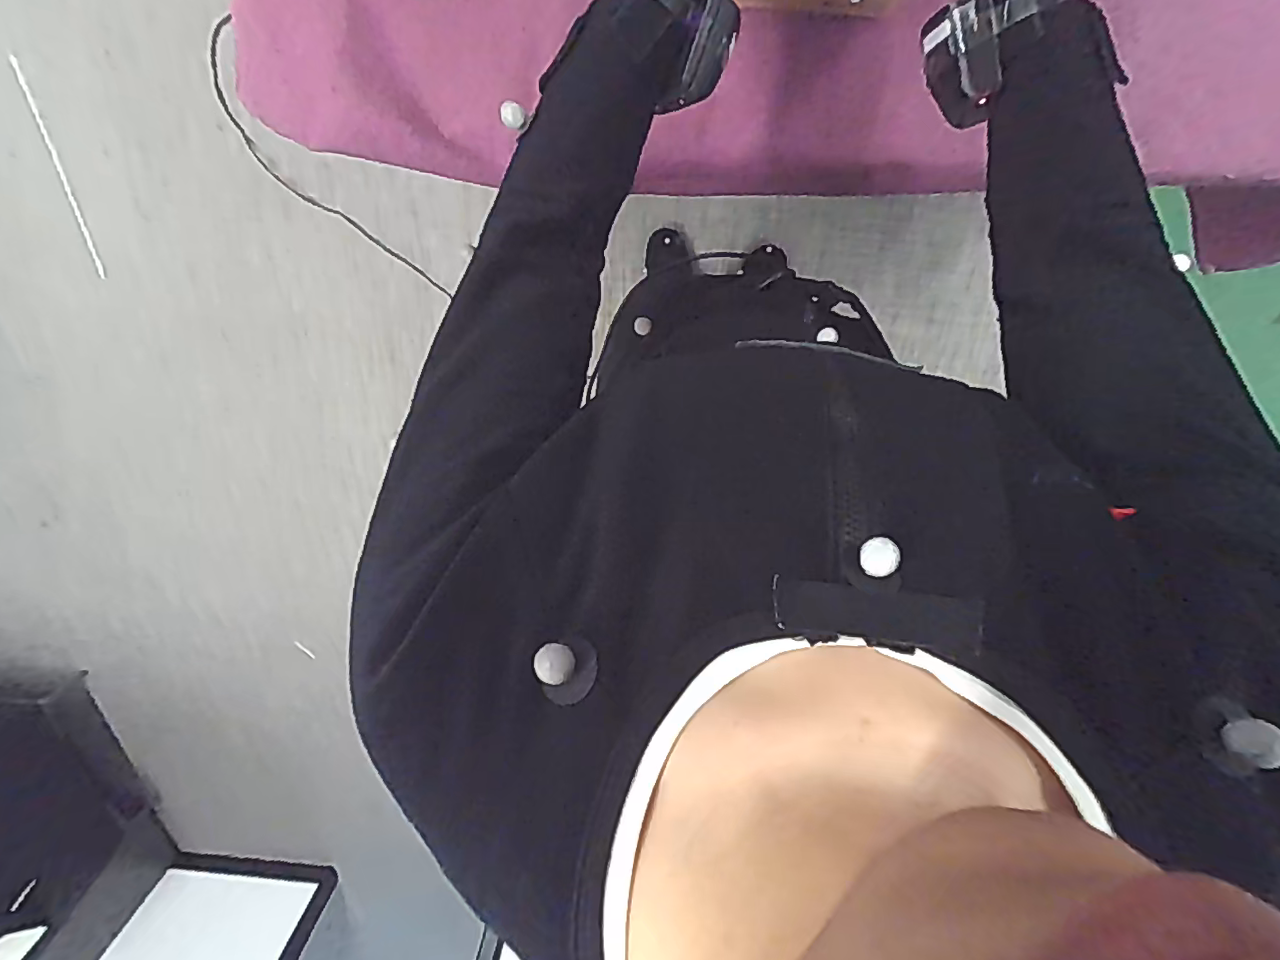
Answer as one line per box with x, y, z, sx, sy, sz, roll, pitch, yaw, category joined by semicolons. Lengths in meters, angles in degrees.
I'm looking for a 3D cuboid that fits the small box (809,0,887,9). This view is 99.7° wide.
0.153;-0.494;0.409;0.168;0.176;0.179;6;116;2;small box
